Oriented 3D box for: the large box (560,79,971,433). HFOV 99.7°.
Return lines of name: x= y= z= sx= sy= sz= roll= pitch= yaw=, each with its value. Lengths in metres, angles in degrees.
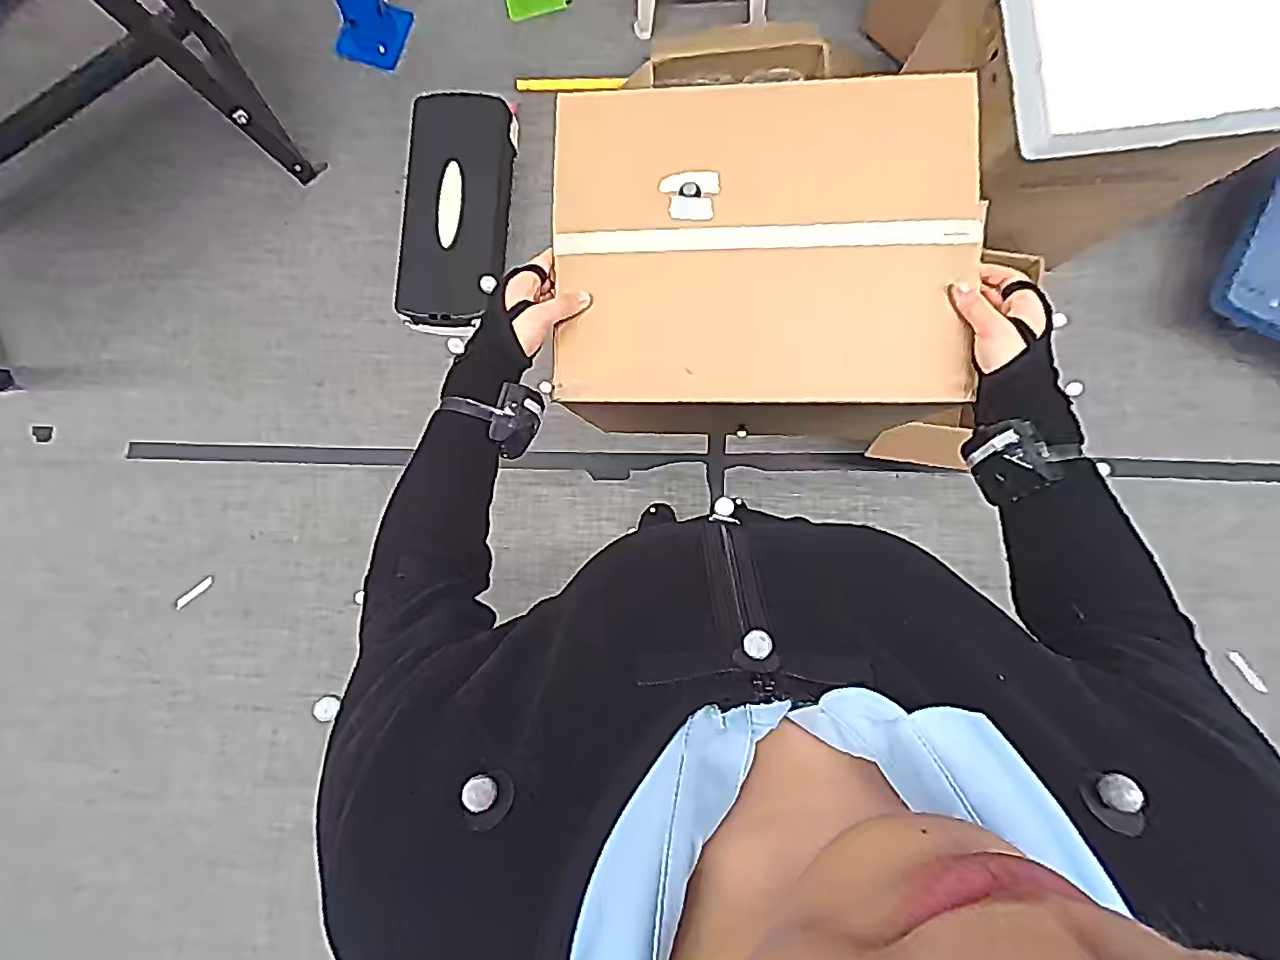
large box: x=0.134 y=-0.227 z=0.683 sx=0.408 sy=0.320 sz=0.320 roll=0 pitch=87 yaw=7
